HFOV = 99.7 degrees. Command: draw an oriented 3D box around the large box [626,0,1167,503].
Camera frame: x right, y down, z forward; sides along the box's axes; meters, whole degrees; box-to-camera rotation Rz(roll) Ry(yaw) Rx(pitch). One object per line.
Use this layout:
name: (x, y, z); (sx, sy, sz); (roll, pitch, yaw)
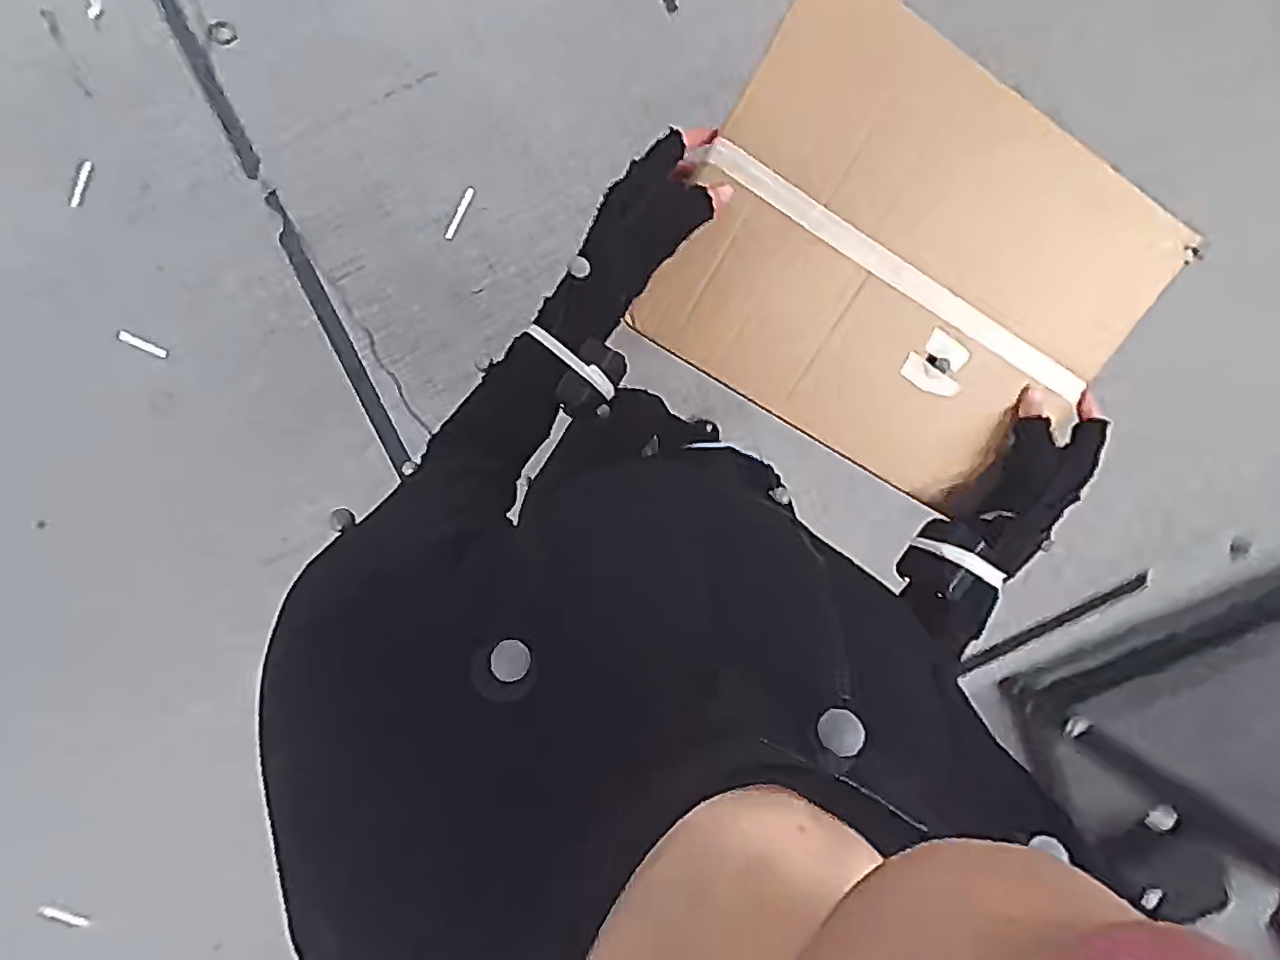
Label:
large box: (0.227, -0.235, 0.634); (0.408, 0.320, 0.320); (28, 106, -10)
